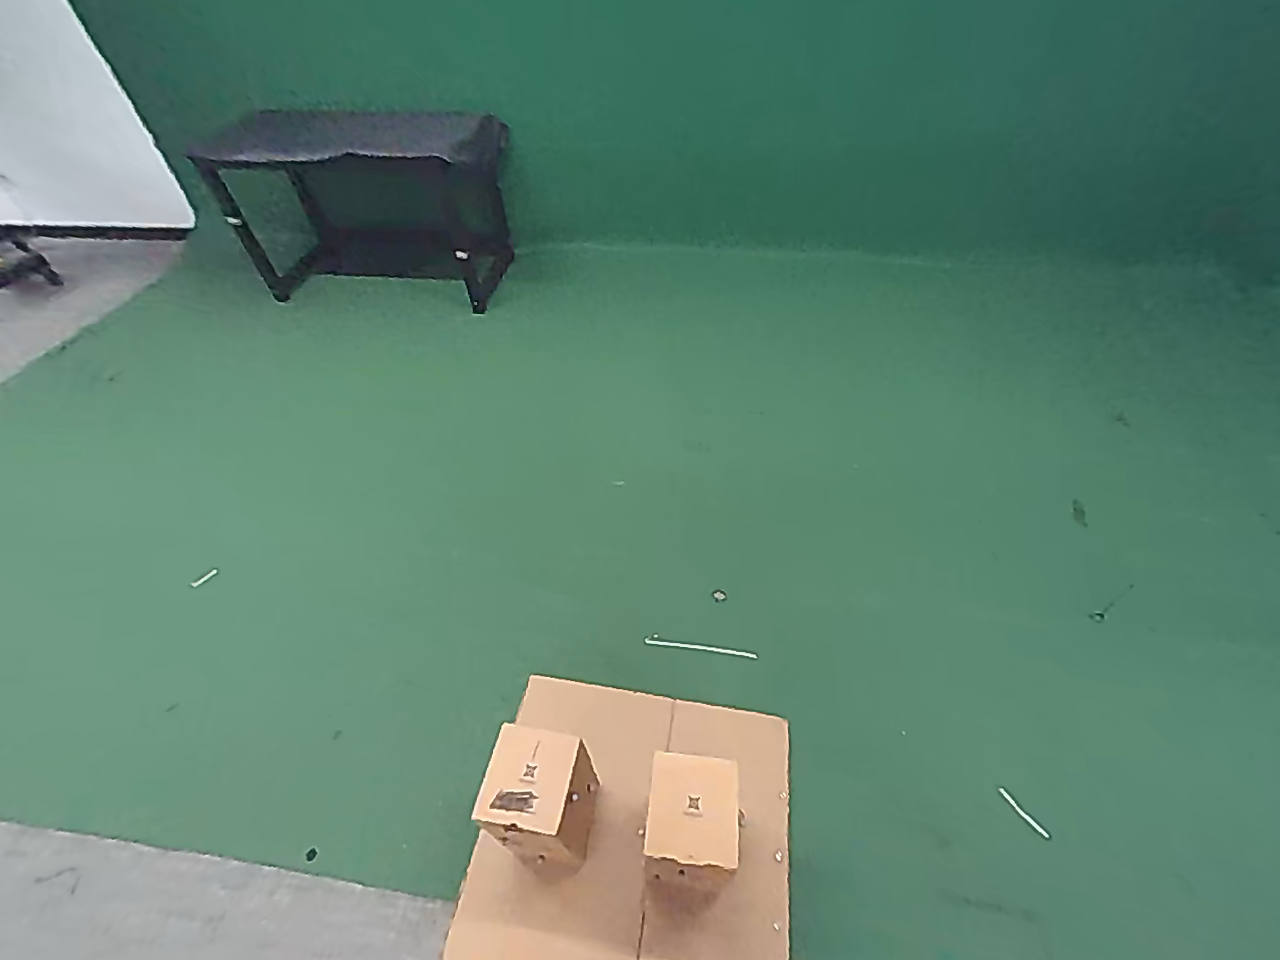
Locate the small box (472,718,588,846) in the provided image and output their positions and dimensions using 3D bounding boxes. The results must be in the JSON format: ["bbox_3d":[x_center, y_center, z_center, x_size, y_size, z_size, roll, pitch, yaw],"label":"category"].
[{"bbox_3d":[-0.207,0.607,1.083,0.168,0.176,0.179,6,47,10],"label":"small box"}]

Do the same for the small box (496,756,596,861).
[{"bbox_3d":[-0.198,0.719,1.203,0.168,0.176,0.179,4,48,9],"label":"small box"}]

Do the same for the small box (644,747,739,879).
[{"bbox_3d":[0.099,0.642,1.041,0.168,0.176,0.179,4,48,6],"label":"small box"}]
